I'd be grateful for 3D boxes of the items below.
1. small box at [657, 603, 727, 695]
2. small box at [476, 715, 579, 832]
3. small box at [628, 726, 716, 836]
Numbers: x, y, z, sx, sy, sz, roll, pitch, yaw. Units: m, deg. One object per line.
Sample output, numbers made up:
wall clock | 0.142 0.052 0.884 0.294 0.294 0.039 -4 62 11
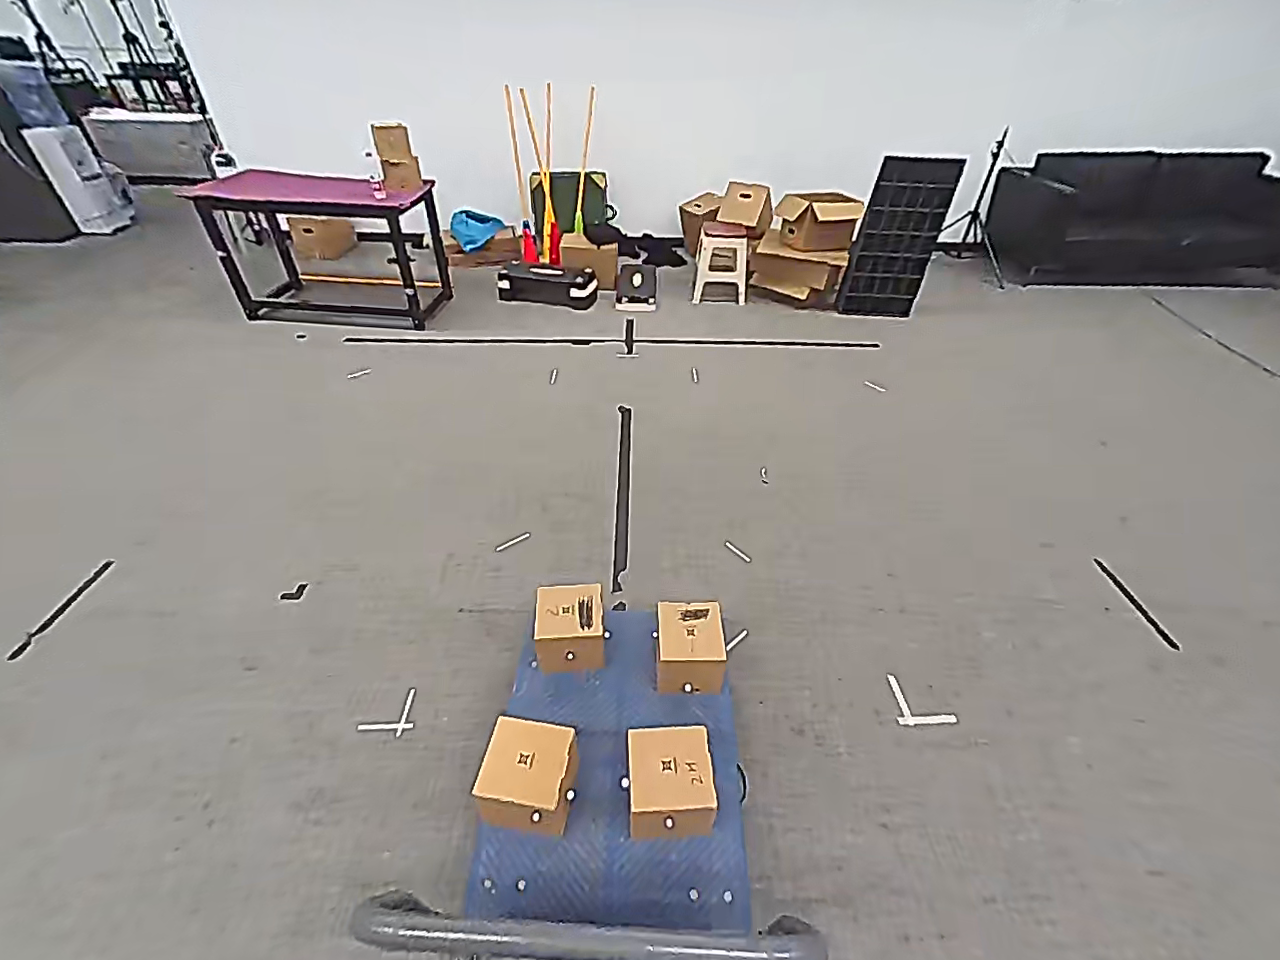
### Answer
small box | 0.132 0.450 1.444 0.168 0.176 0.179 1 41 -1
small box | -0.240 0.651 1.196 0.179 0.176 0.168 8 40 5
small box | 0.064 0.664 1.189 0.179 0.176 0.168 -1 40 -3
